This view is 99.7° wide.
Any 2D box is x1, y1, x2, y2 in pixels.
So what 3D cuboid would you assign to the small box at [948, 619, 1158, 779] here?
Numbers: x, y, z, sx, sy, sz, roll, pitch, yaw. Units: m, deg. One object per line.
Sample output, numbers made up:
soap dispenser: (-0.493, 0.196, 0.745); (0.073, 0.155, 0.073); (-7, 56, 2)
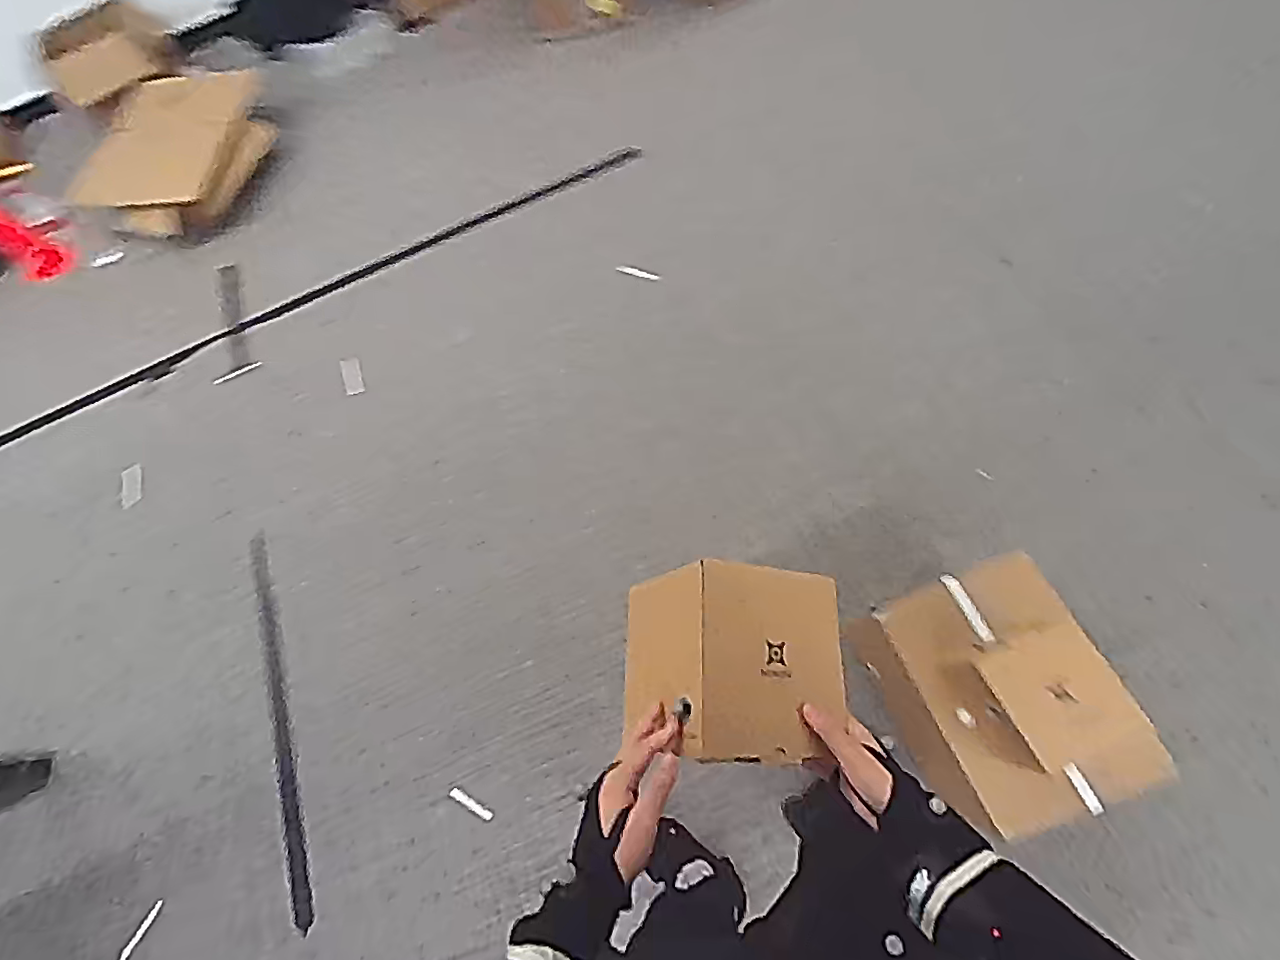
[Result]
small box: (0.636, 0.345, 0.865); (0.168, 0.176, 0.179); (-26, 68, 1)
